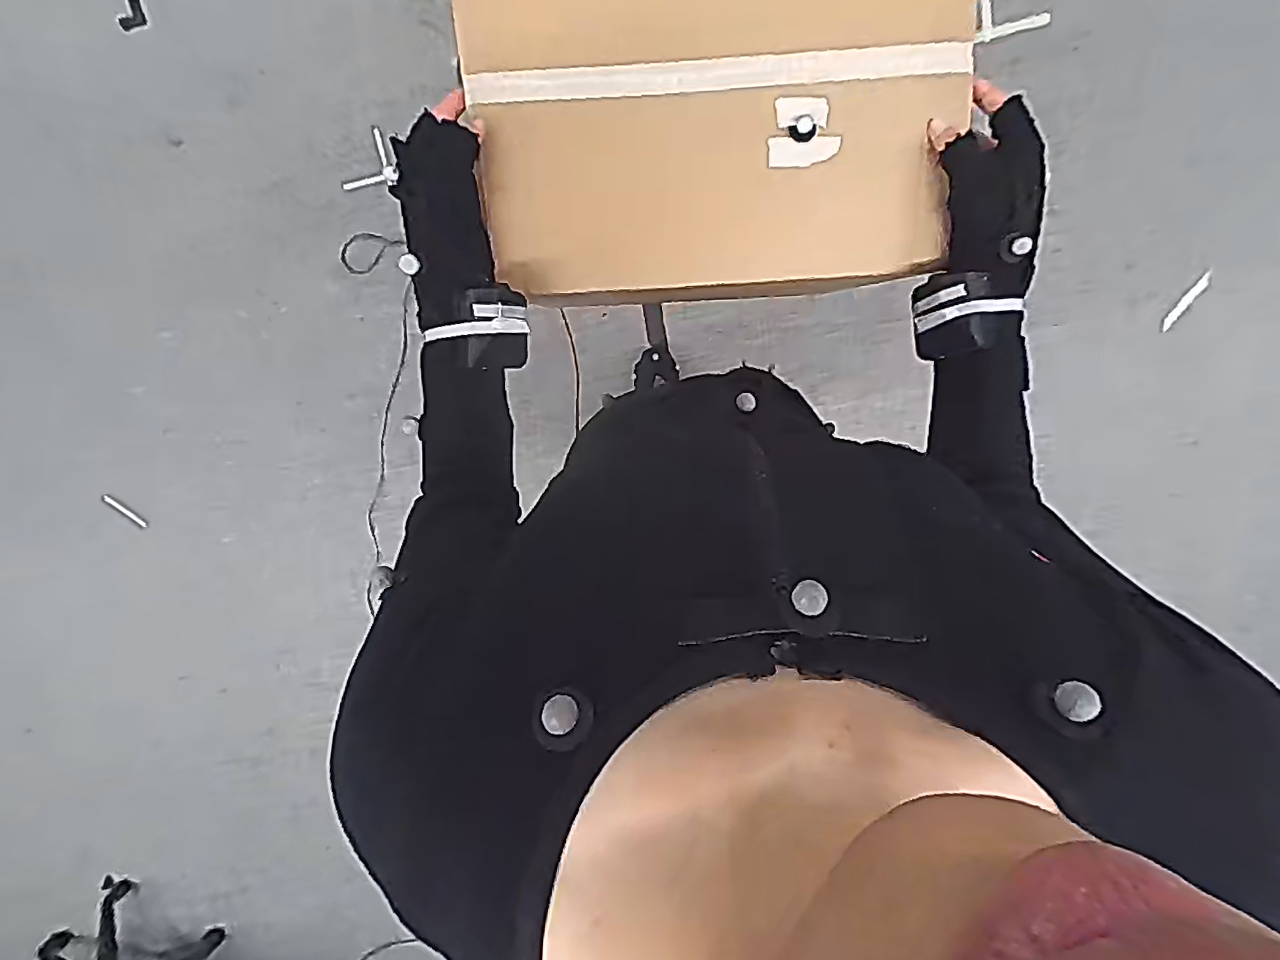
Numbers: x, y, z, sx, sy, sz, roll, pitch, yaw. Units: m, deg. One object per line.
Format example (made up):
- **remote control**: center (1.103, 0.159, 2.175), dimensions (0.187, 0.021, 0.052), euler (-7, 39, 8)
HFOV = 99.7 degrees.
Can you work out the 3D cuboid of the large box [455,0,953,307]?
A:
- **large box**: center (0.051, -0.371, 0.587), dimensions (0.408, 0.320, 0.320), euler (-4, 106, 0)
